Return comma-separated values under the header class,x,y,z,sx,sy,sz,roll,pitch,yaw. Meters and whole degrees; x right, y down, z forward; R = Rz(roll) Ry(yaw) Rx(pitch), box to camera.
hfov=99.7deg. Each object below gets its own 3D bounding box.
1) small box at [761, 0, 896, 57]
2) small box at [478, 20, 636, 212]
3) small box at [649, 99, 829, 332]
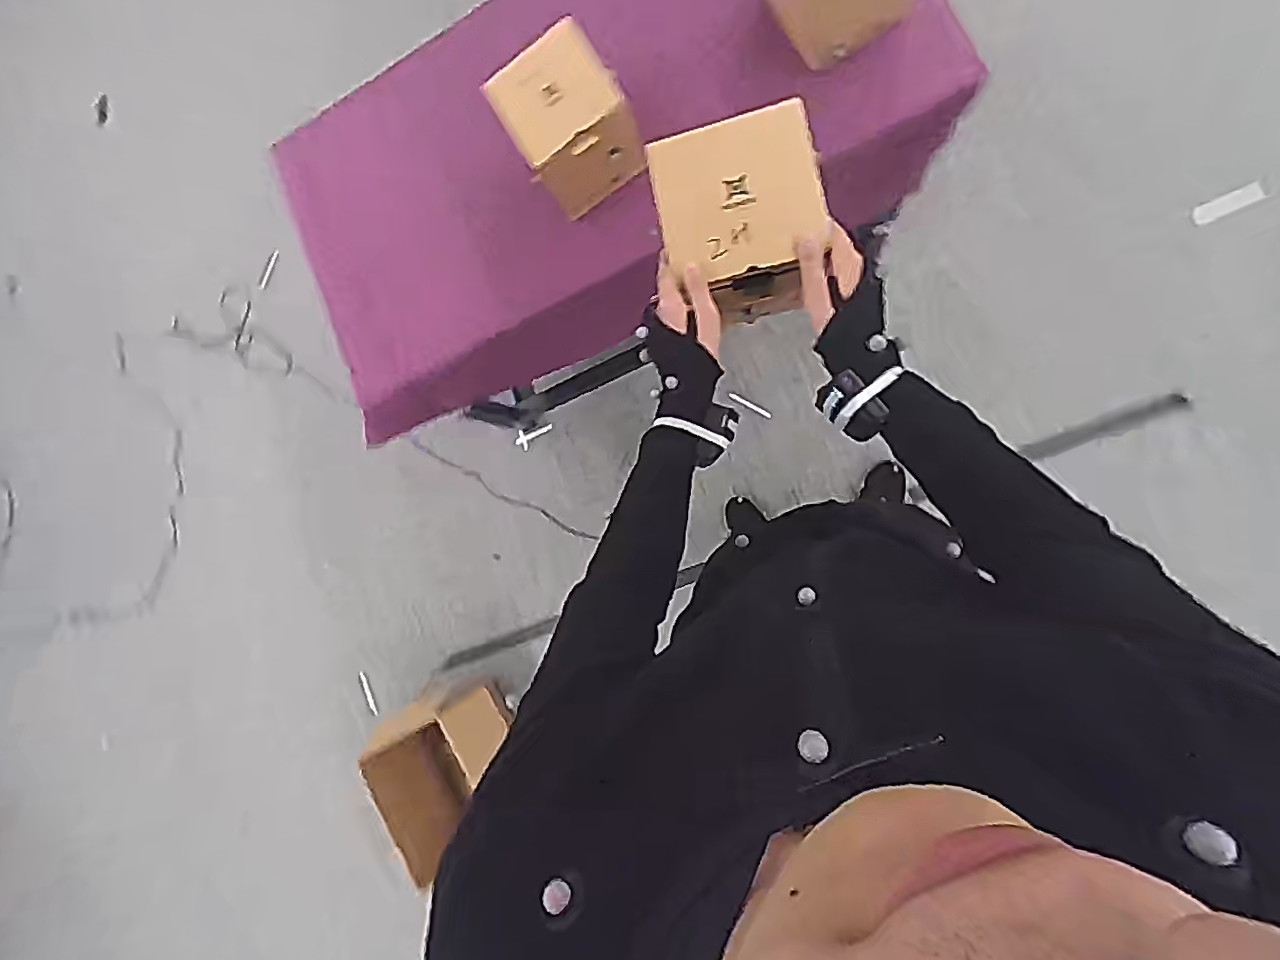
class,x,y,z,sx,sy,sz,roll,pitch,yaw
small box,0.283,-0.787,0.806,0.168,0.176,0.179,-29,82,11
small box,-0.126,-0.583,0.900,0.168,0.176,0.179,-33,82,10
small box,0.115,-0.298,0.649,0.168,0.176,0.179,-11,90,10
